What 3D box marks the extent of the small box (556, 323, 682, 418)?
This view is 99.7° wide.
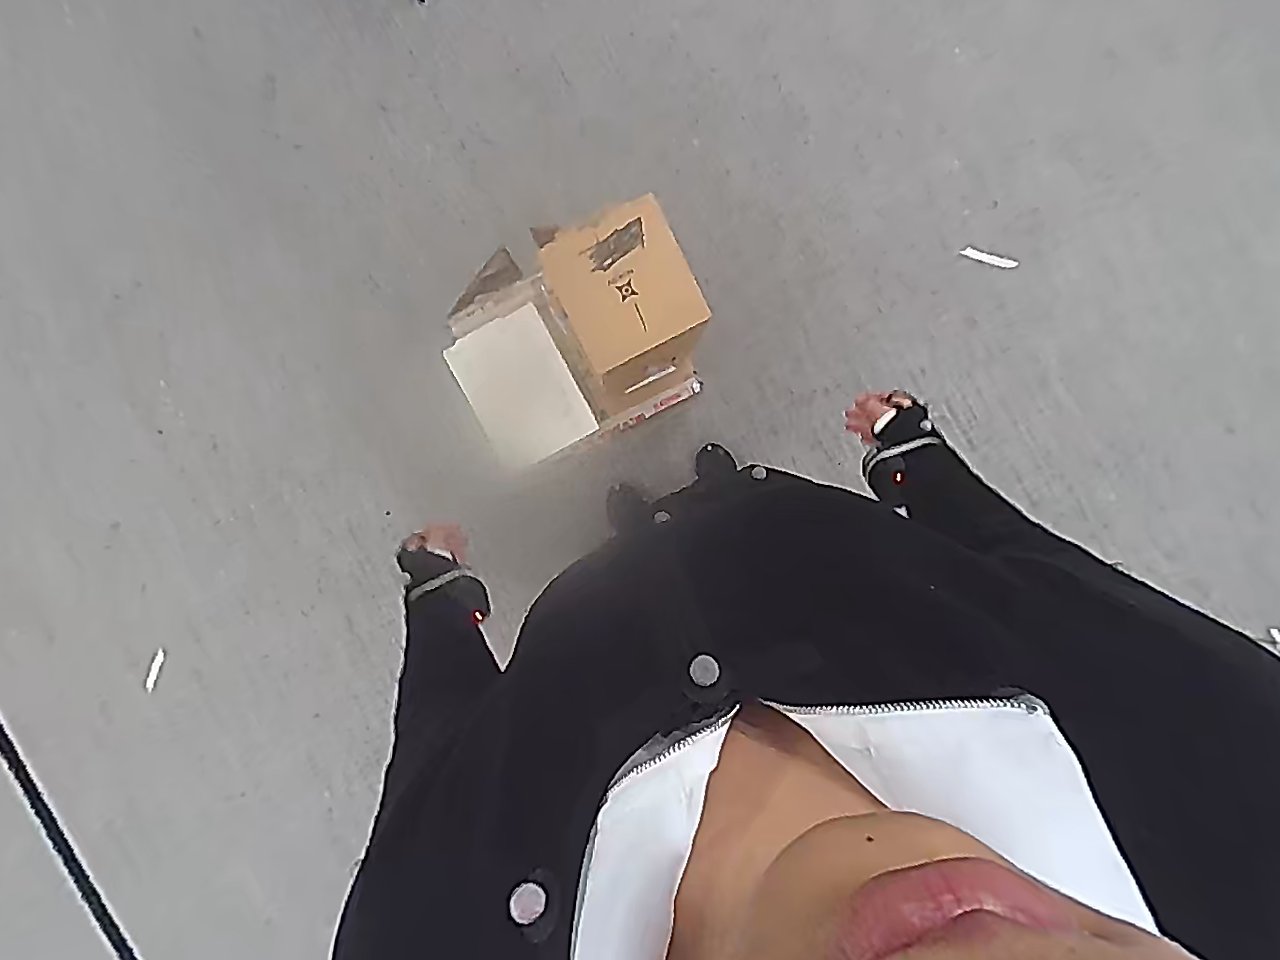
[{"bbox_3d":[-0.023,-0.221,0.938,0.179,0.176,0.168,-30,92,2],"label":"small box"}]

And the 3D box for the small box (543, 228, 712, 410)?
[{"bbox_3d":[-0.018,-0.215,0.773,0.168,0.176,0.179,-27,93,1],"label":"small box"}]
